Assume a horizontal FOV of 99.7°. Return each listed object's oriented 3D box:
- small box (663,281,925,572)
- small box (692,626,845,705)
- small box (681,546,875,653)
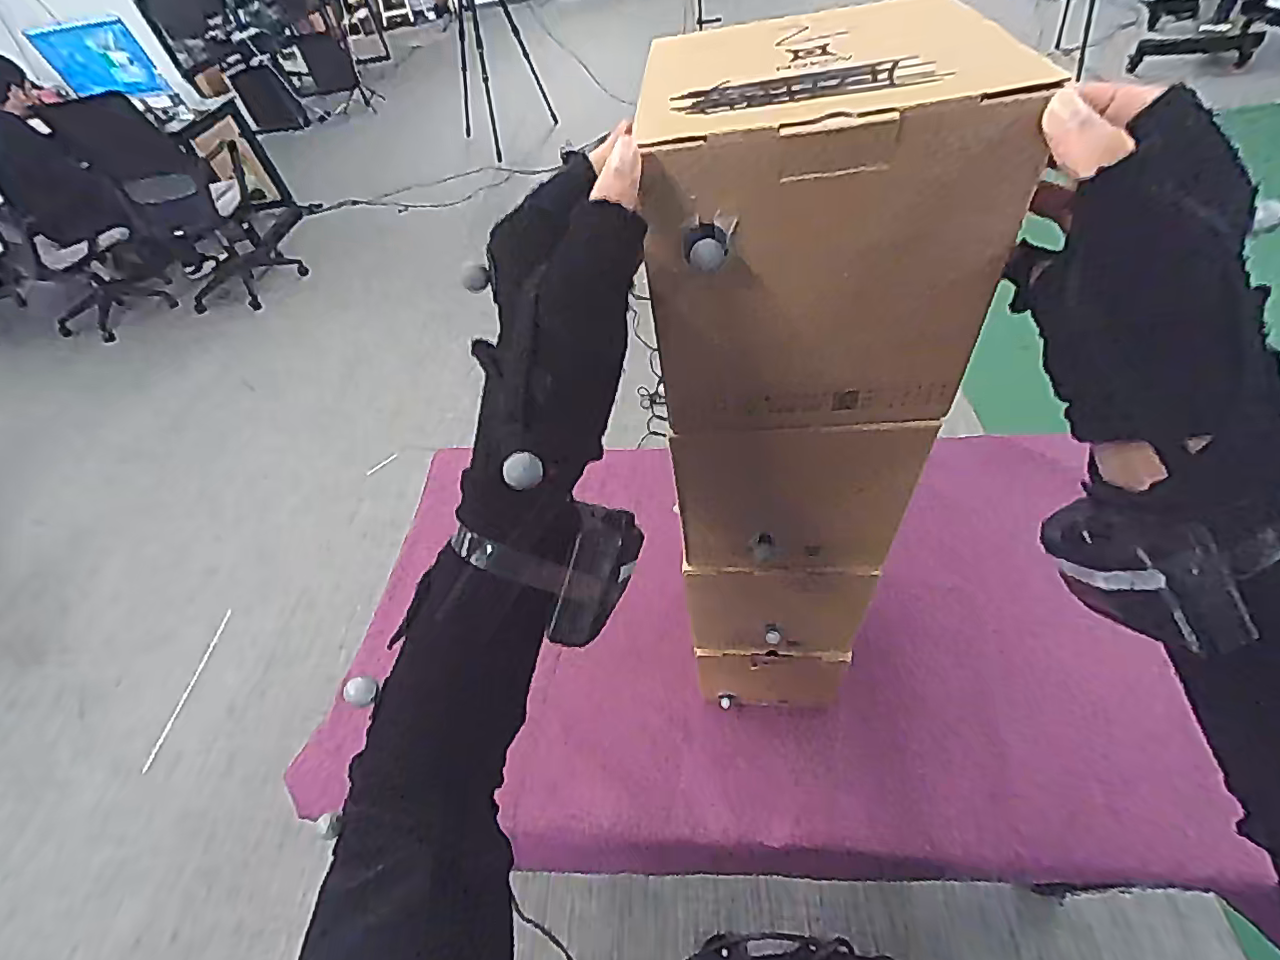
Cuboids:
[{"bbox_3d":[0.113,-0.042,0.456,0.168,0.176,0.179,-2,51,10],"label":"small box"},{"bbox_3d":[0.158,0.176,0.696,0.168,0.176,0.179,-1,50,10],"label":"small box"},{"bbox_3d":[0.135,0.065,0.577,0.168,0.176,0.179,-2,51,10],"label":"small box"}]
